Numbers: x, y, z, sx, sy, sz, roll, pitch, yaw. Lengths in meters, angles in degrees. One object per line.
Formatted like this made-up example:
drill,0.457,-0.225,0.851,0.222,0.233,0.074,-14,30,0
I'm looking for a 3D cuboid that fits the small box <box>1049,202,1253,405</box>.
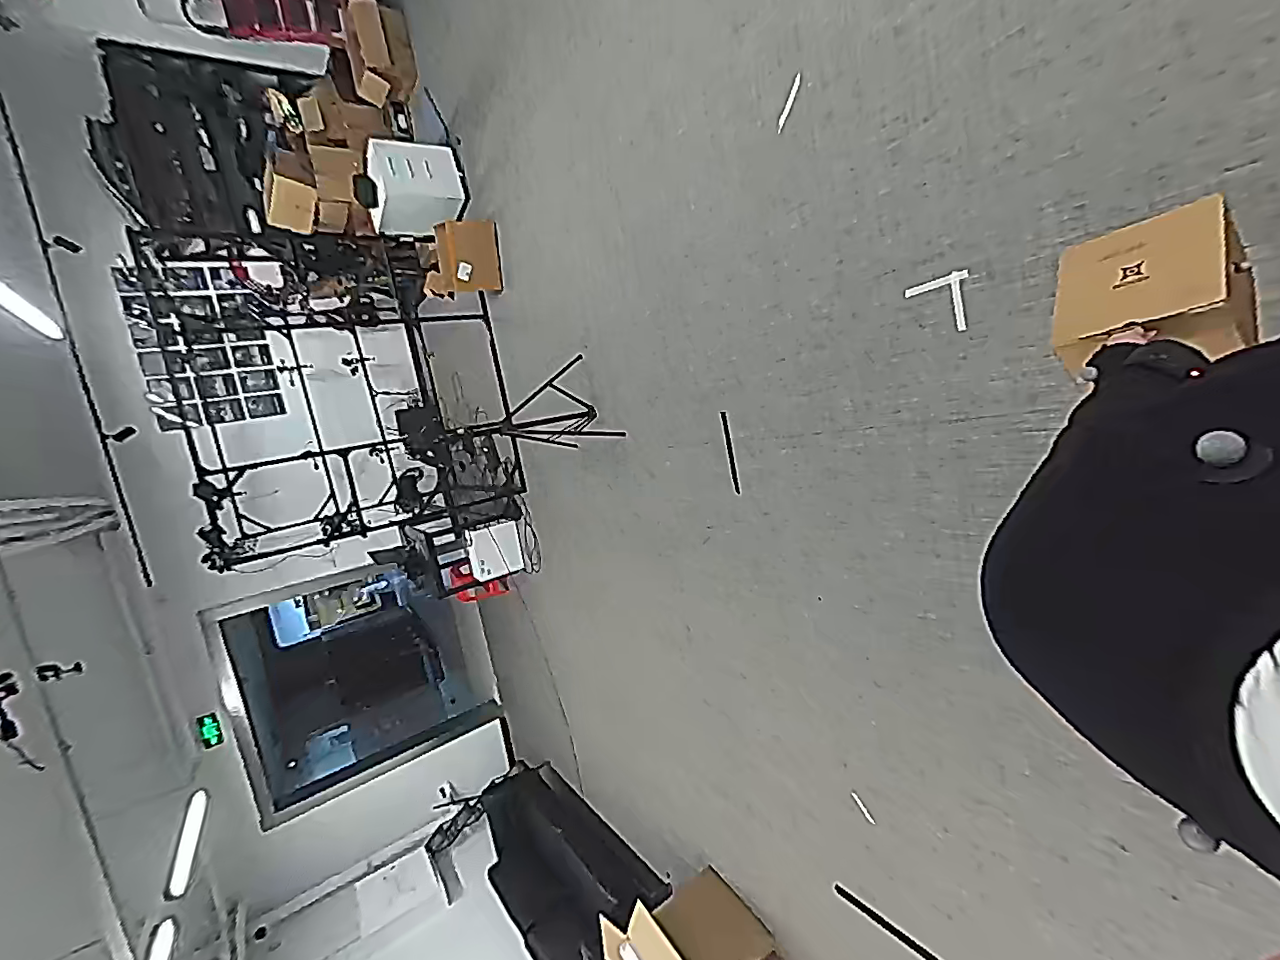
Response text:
small box,0.688,-0.219,0.730,0.168,0.176,0.179,-9,53,55
